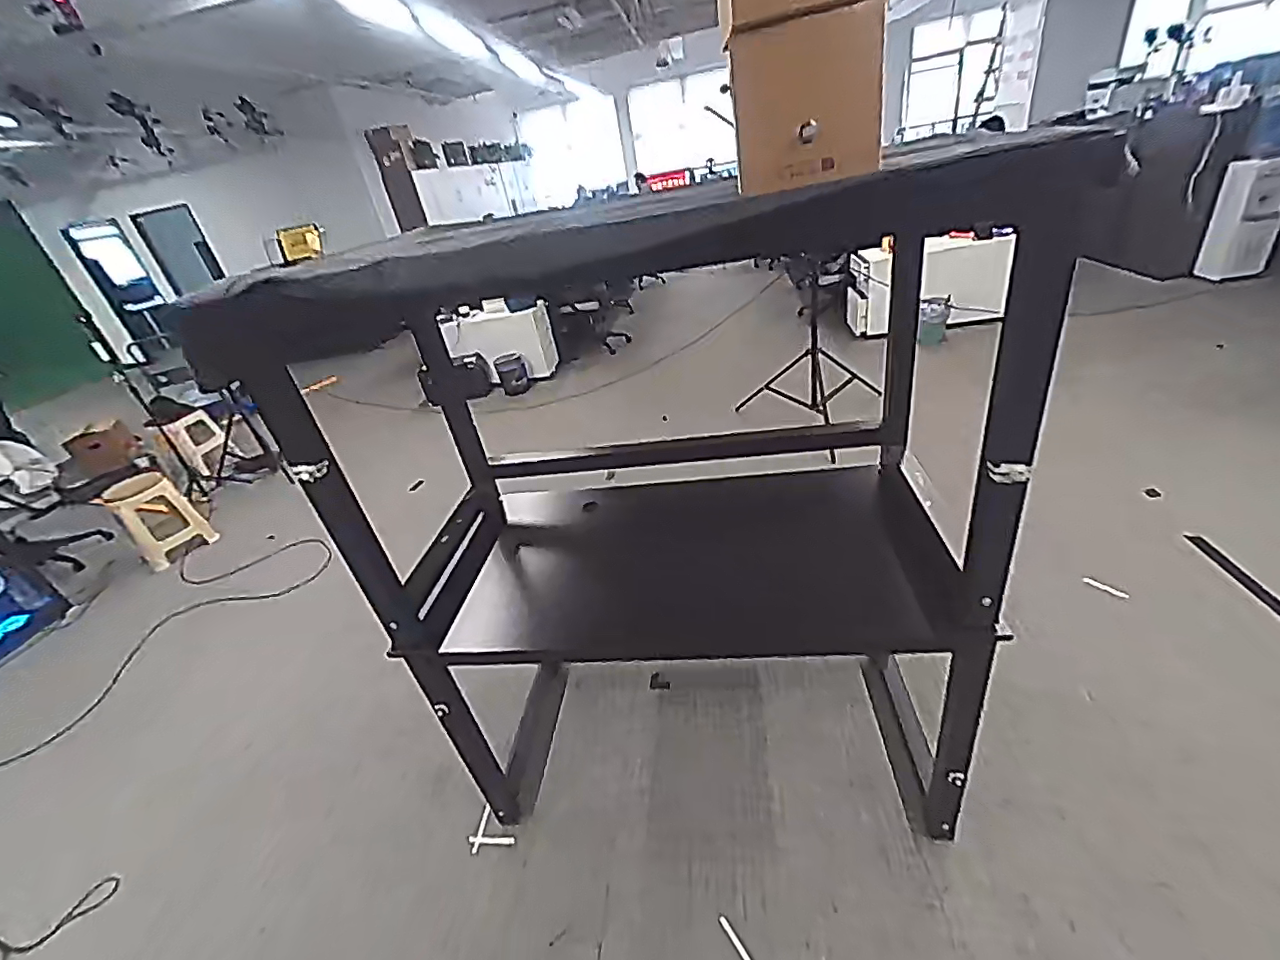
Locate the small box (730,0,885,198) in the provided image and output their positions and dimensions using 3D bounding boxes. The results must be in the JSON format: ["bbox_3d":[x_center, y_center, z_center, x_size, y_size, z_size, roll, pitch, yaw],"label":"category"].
[{"bbox_3d":[0.205,-0.470,0.695,0.168,0.176,0.179,-5,30,12],"label":"small box"}]

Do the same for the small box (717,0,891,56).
[{"bbox_3d":[0.176,-0.607,0.602,0.179,0.176,0.168,-6,29,8],"label":"small box"}]
